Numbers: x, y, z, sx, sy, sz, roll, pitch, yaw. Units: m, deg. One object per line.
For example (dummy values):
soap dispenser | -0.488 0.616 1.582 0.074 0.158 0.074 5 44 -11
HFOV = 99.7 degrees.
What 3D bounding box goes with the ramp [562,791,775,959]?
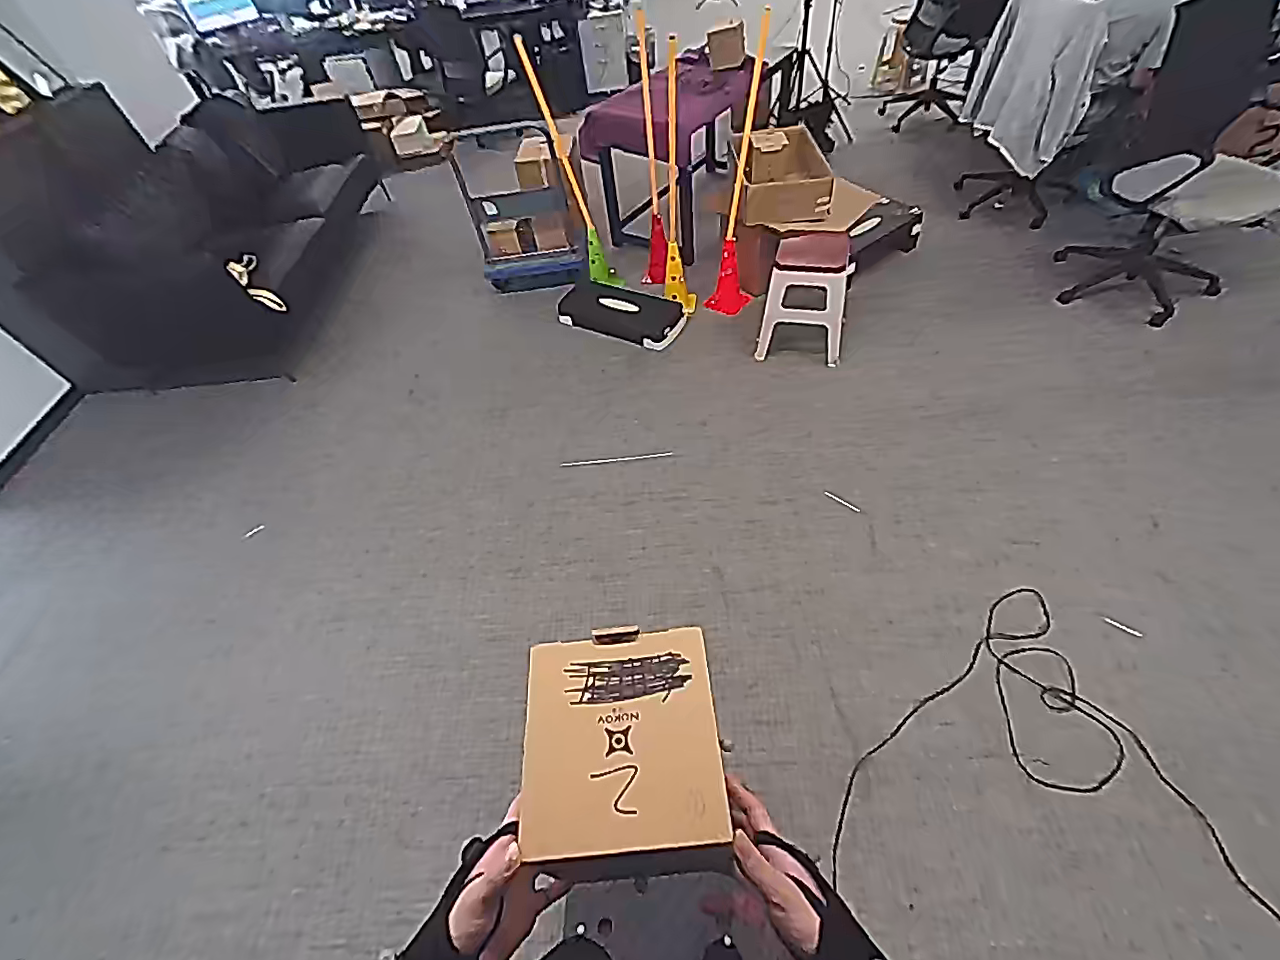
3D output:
ramp | 0.061 1.199 1.115 0.509 0.206 0.991 -8 50 4
